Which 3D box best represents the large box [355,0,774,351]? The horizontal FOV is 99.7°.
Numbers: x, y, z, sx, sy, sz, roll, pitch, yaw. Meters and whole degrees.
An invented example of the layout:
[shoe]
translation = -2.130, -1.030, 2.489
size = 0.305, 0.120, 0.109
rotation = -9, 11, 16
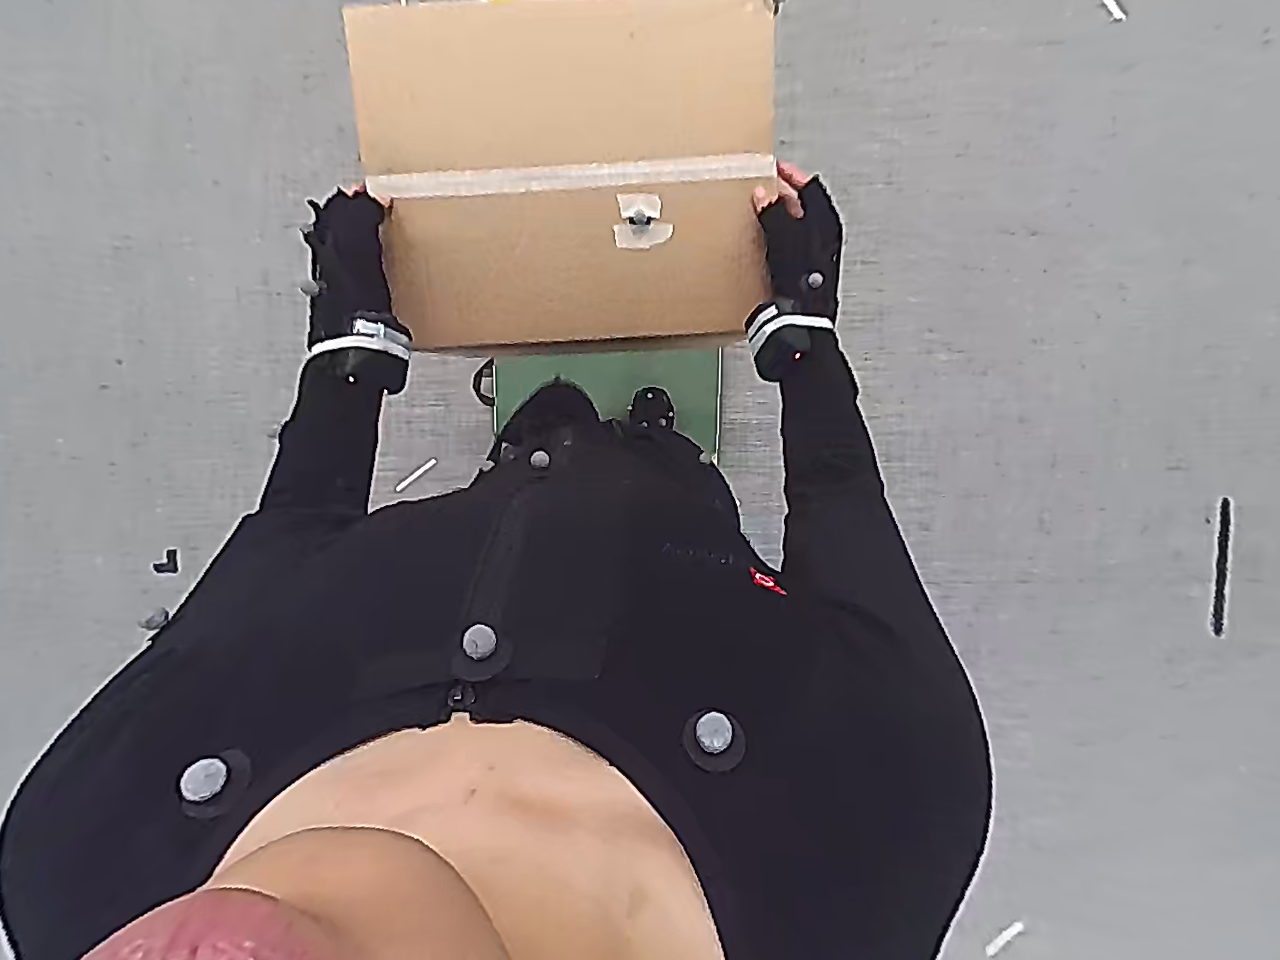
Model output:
[large box]
translation = -0.071, -0.345, 0.692
size = 0.408, 0.320, 0.320
rotation = -4, 102, -1
